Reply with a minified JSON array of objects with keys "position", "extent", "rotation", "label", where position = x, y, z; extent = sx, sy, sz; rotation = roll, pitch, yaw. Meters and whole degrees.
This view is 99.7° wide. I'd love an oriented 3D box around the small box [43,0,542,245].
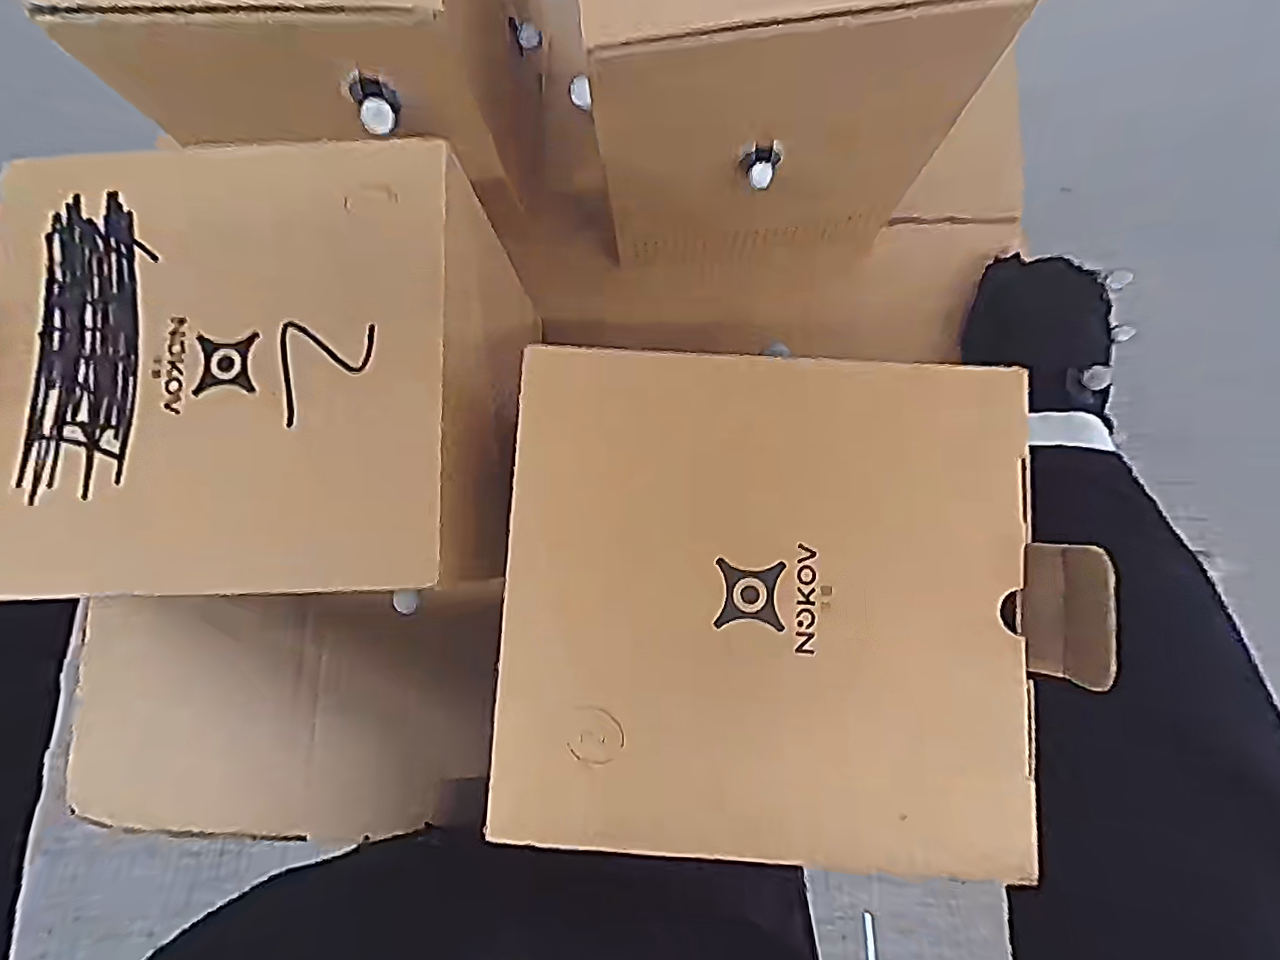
[{"position":[-0.161,-0.257,0.314],"extent":[0.179,0.176,0.168],"rotation":[2,83,3],"label":"small box"}]
